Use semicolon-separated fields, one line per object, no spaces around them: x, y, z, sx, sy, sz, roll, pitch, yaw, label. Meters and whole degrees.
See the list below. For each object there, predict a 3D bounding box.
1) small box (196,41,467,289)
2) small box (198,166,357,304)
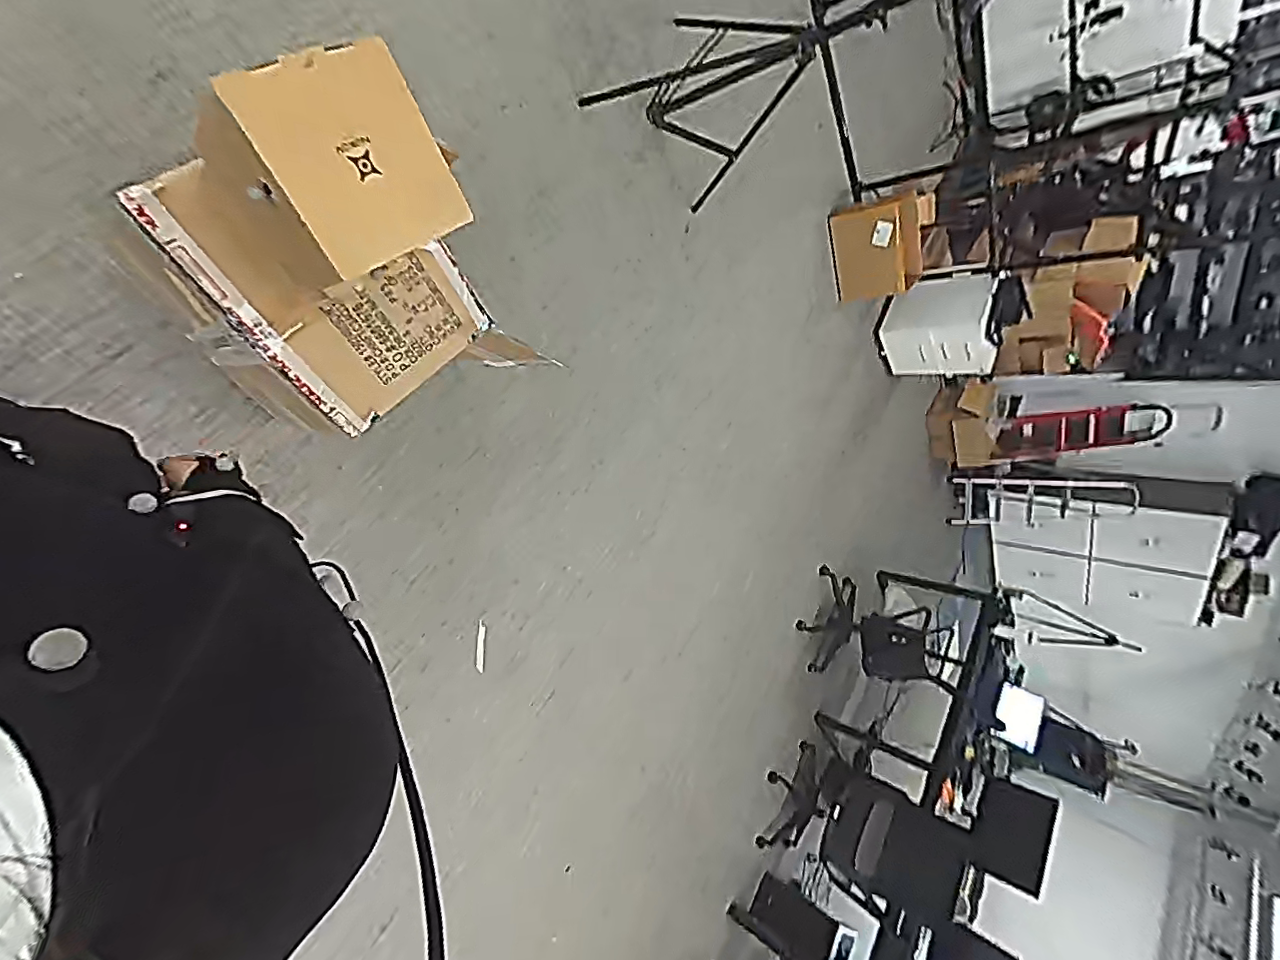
-0.327;-0.319;0.581;0.168;0.176;0.179;-44;125;-29;small box
-0.428;-0.350;0.706;0.168;0.176;0.179;-49;128;-26;small box
